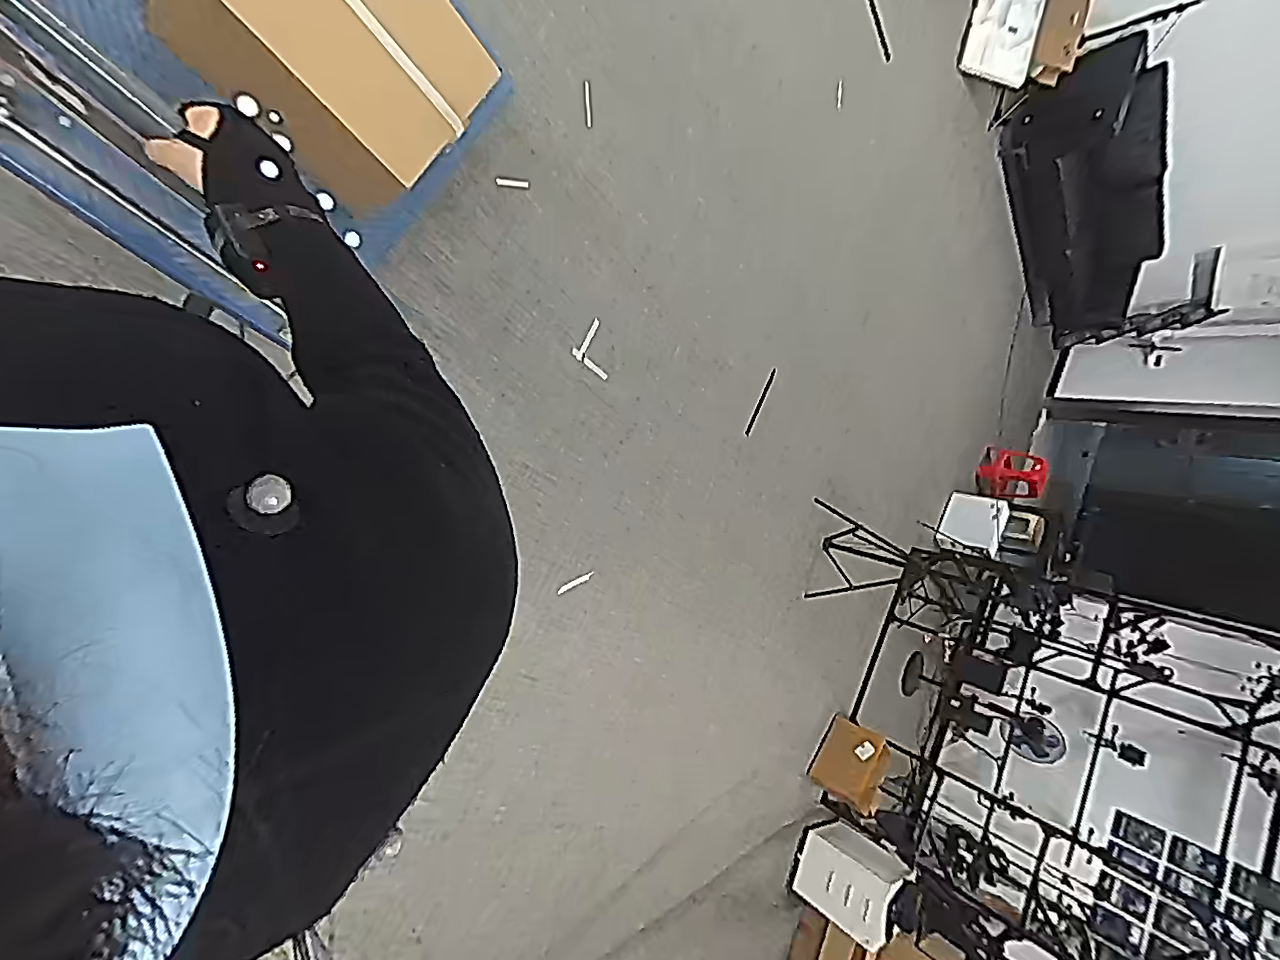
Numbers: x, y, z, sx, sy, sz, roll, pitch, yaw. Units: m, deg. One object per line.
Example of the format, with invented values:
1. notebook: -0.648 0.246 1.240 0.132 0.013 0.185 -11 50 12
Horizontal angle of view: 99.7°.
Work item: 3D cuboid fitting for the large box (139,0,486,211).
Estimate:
1. large box: -0.573 -0.779 0.975 0.408 0.320 0.320 41 71 -40
